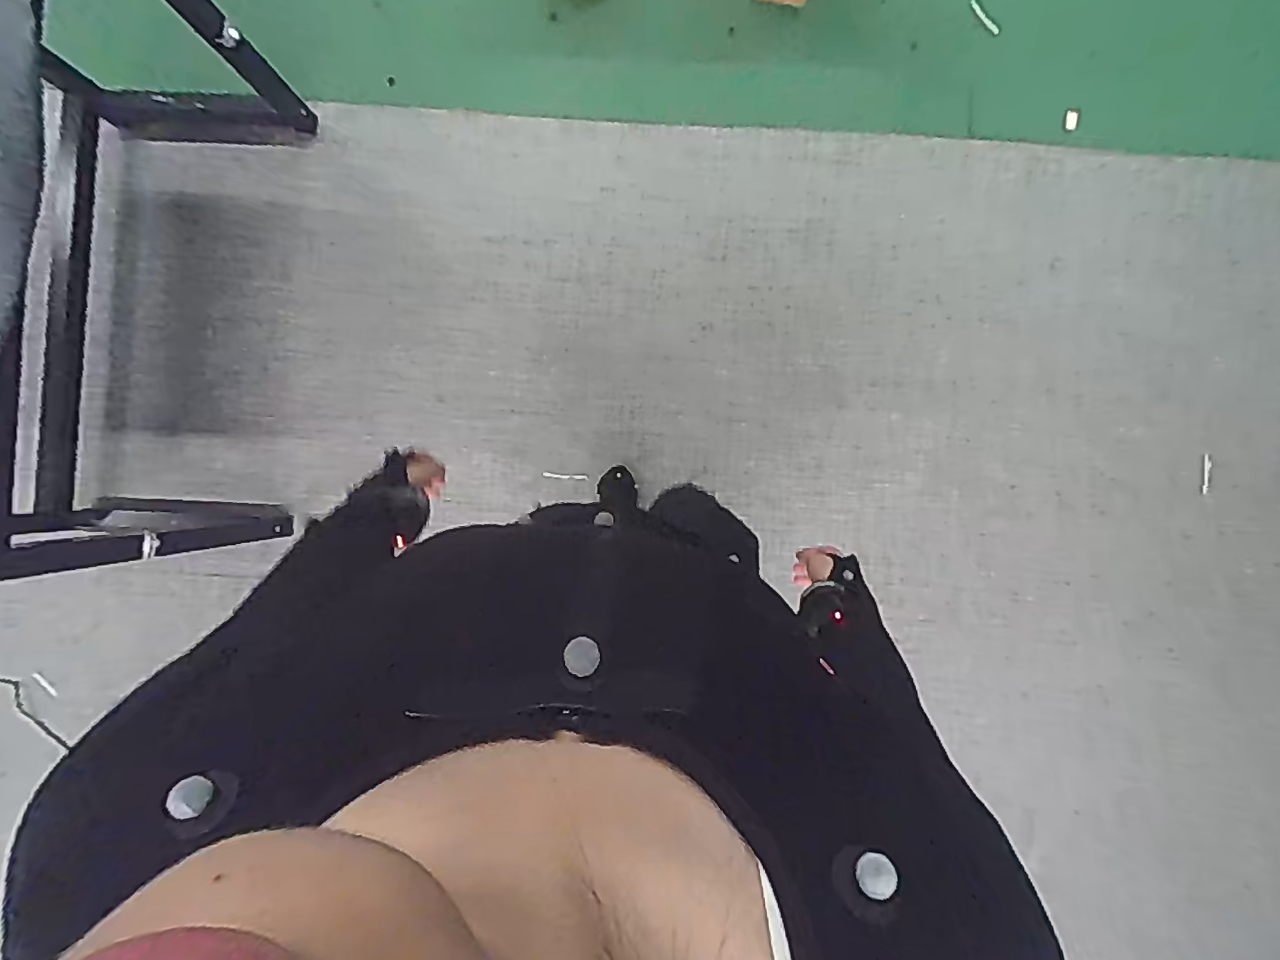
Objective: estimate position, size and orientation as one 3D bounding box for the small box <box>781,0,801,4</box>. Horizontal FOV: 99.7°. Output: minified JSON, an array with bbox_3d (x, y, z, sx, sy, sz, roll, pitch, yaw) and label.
[{"bbox_3d":[0.380,-1.407,1.412,0.168,0.176,0.179,11,90,0],"label":"small box"}]
